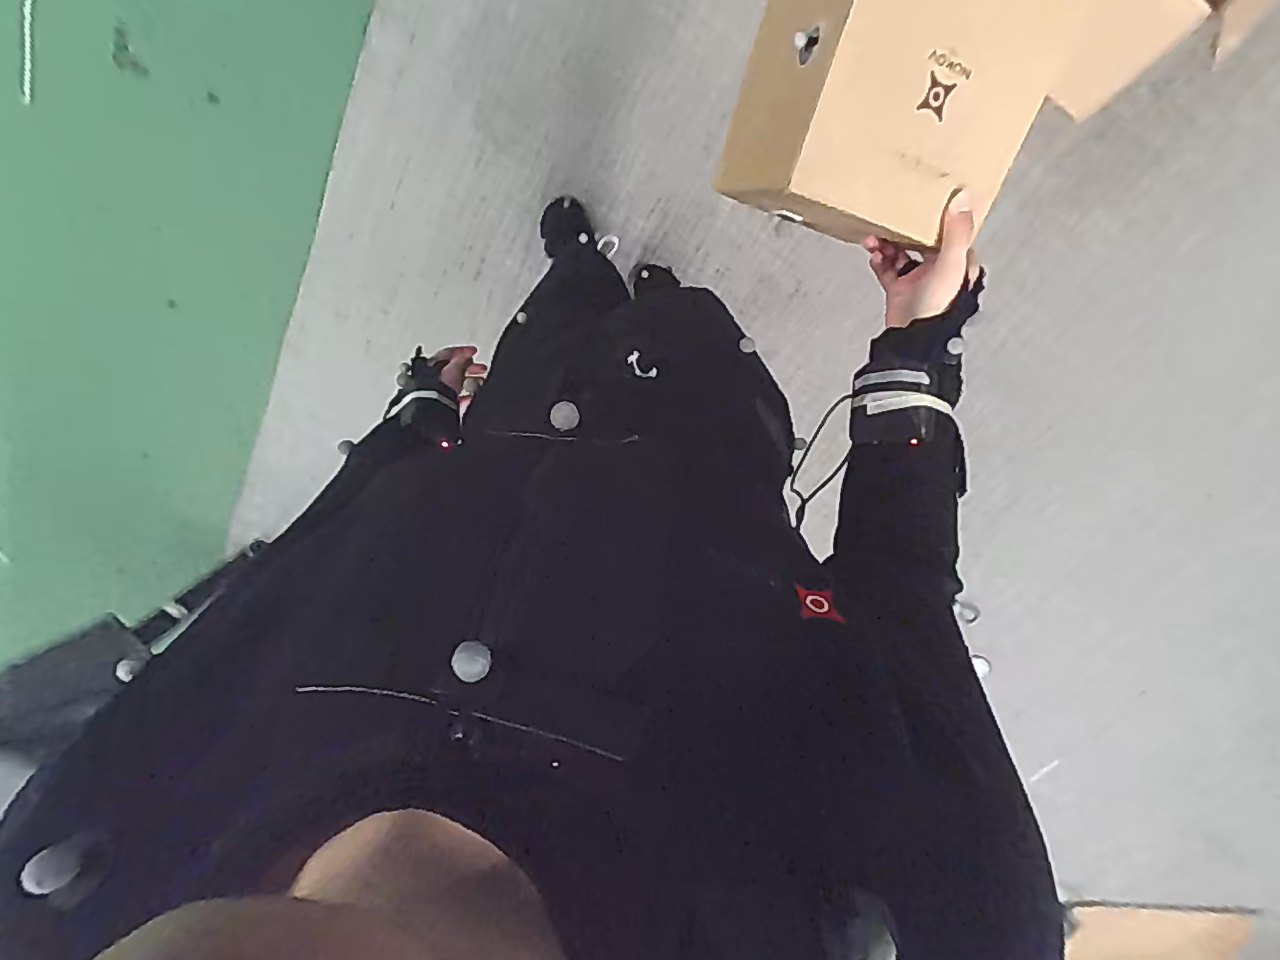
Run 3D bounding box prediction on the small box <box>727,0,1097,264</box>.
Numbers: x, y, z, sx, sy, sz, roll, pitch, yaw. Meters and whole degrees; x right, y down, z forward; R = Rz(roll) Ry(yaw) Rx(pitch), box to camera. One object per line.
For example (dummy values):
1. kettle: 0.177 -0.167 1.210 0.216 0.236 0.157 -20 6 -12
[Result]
1. small box: 0.191 -0.296 0.438 0.168 0.176 0.179 11 114 -18
